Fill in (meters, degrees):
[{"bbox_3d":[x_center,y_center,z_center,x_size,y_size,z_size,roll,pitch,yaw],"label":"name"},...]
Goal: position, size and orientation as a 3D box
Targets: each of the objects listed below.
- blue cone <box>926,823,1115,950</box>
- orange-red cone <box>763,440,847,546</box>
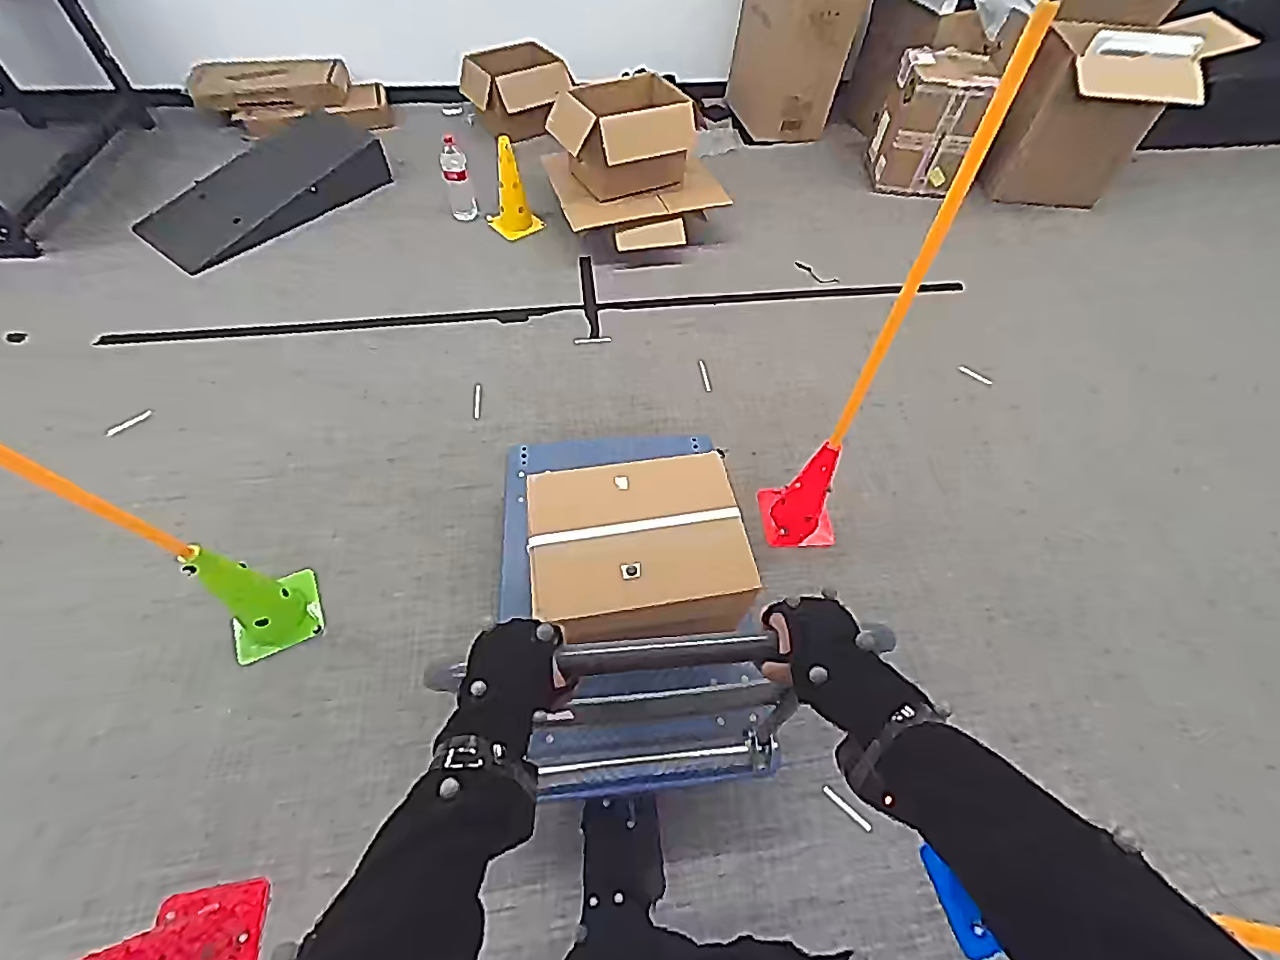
[{"bbox_3d":[0.726,0.753,0.997,0.193,0.380,0.192,-8,55,-9],"label":"blue cone"},{"bbox_3d":[0.482,0.013,1.470,0.199,0.360,0.198,1,56,-3],"label":"orange-red cone"}]
